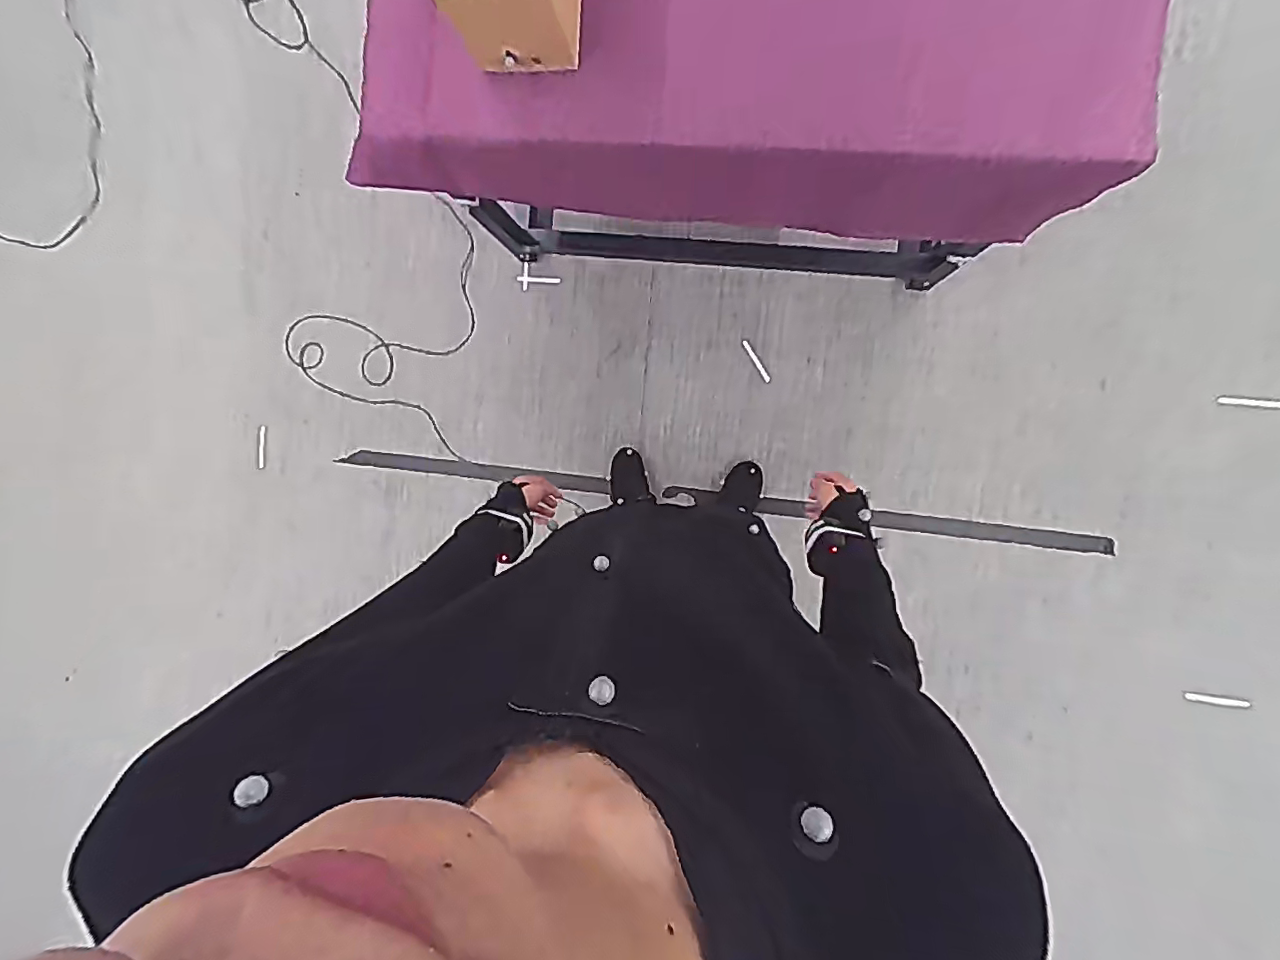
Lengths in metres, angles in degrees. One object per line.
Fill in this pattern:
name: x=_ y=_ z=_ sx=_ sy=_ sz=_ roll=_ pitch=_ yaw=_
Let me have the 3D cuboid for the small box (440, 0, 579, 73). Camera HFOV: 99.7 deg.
small box: x=-0.189 y=-0.737 z=0.784 sx=0.168 sy=0.176 sz=0.179 roll=4 pitch=95 yaw=8
